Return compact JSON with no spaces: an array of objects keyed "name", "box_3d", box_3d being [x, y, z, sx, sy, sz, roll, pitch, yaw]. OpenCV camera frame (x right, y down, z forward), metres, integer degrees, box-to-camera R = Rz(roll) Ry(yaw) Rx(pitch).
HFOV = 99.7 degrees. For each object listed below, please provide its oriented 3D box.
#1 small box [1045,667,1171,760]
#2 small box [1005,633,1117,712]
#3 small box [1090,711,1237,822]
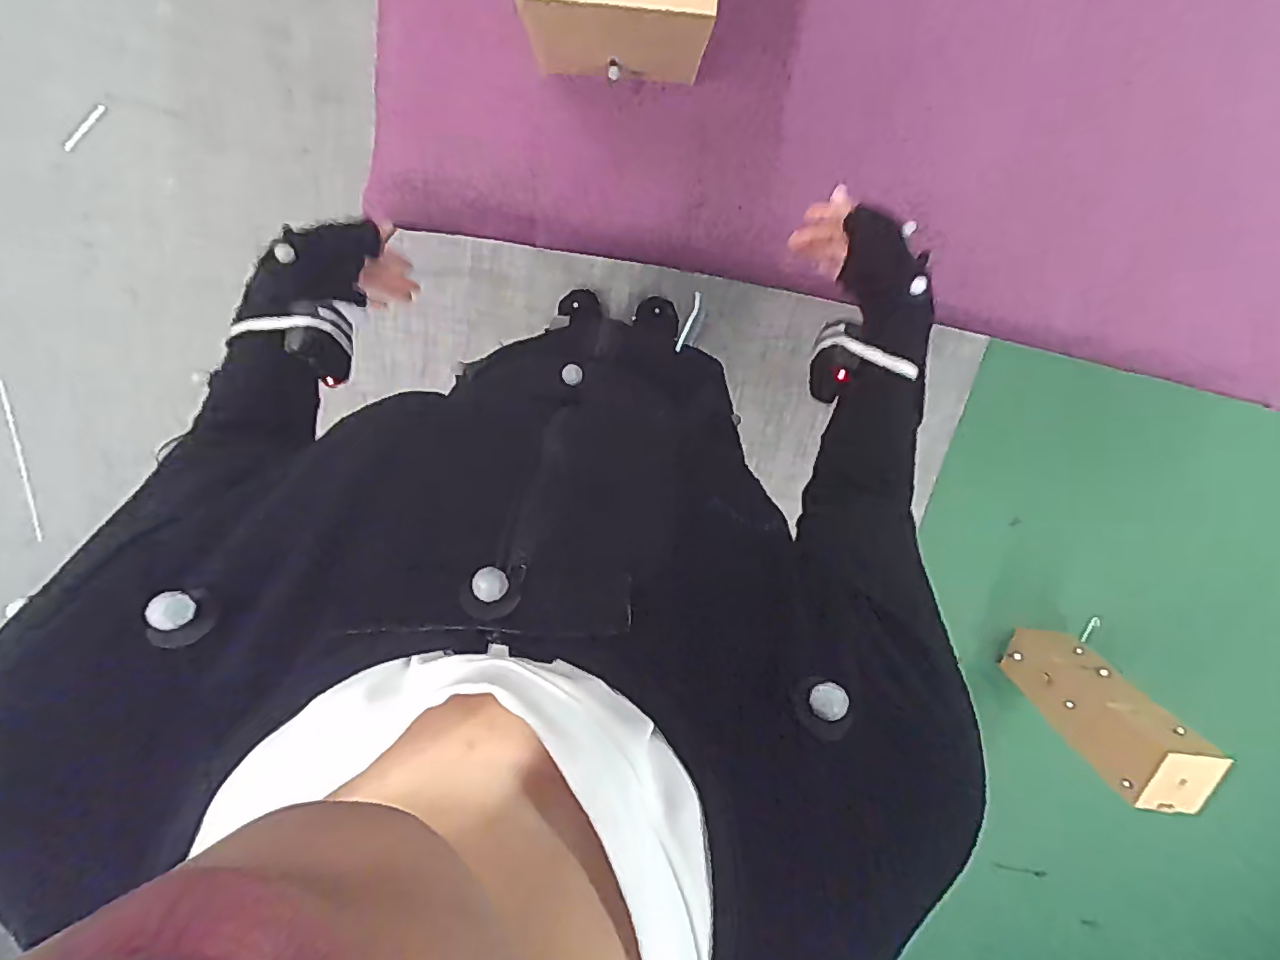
[{"name":"small box","box_3d":[1.270,0.649,1.486,0.168,0.176,0.179,11,110,-6]},{"name":"small box","box_3d":[1.267,0.587,1.640,0.179,0.176,0.168,9,109,-4]},{"name":"small box","box_3d":[1.274,0.700,1.334,0.168,0.176,0.179,8,110,-4]}]
